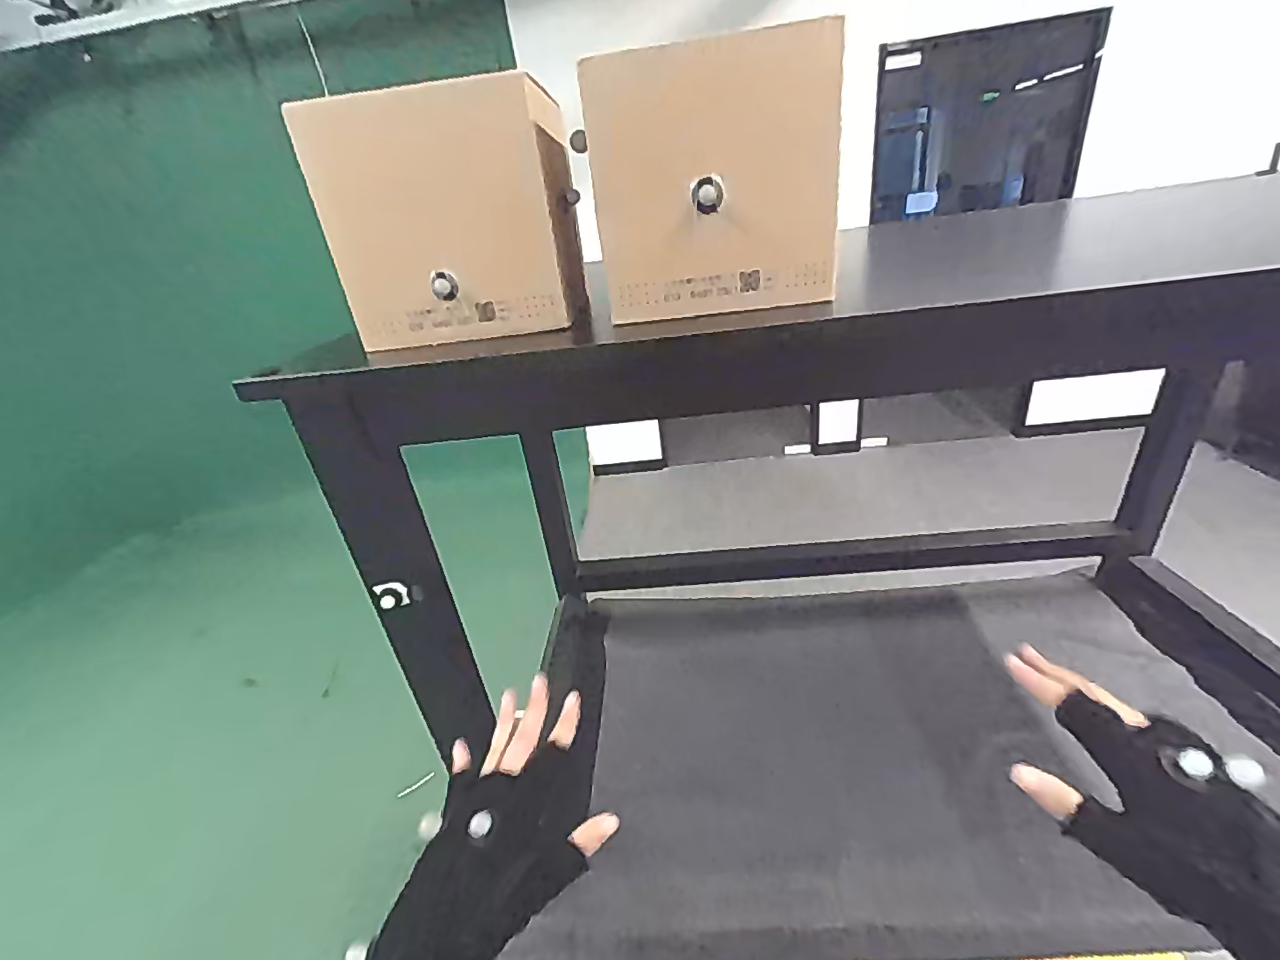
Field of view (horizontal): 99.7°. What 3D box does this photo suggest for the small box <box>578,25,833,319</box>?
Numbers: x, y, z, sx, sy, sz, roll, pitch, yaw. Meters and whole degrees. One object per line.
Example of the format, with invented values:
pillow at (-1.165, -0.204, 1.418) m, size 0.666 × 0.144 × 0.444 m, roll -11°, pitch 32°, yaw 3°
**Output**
small box at (0.056, -0.235, 0.448) m, size 0.168 × 0.176 × 0.179 m, roll -4°, pitch 27°, yaw 6°
